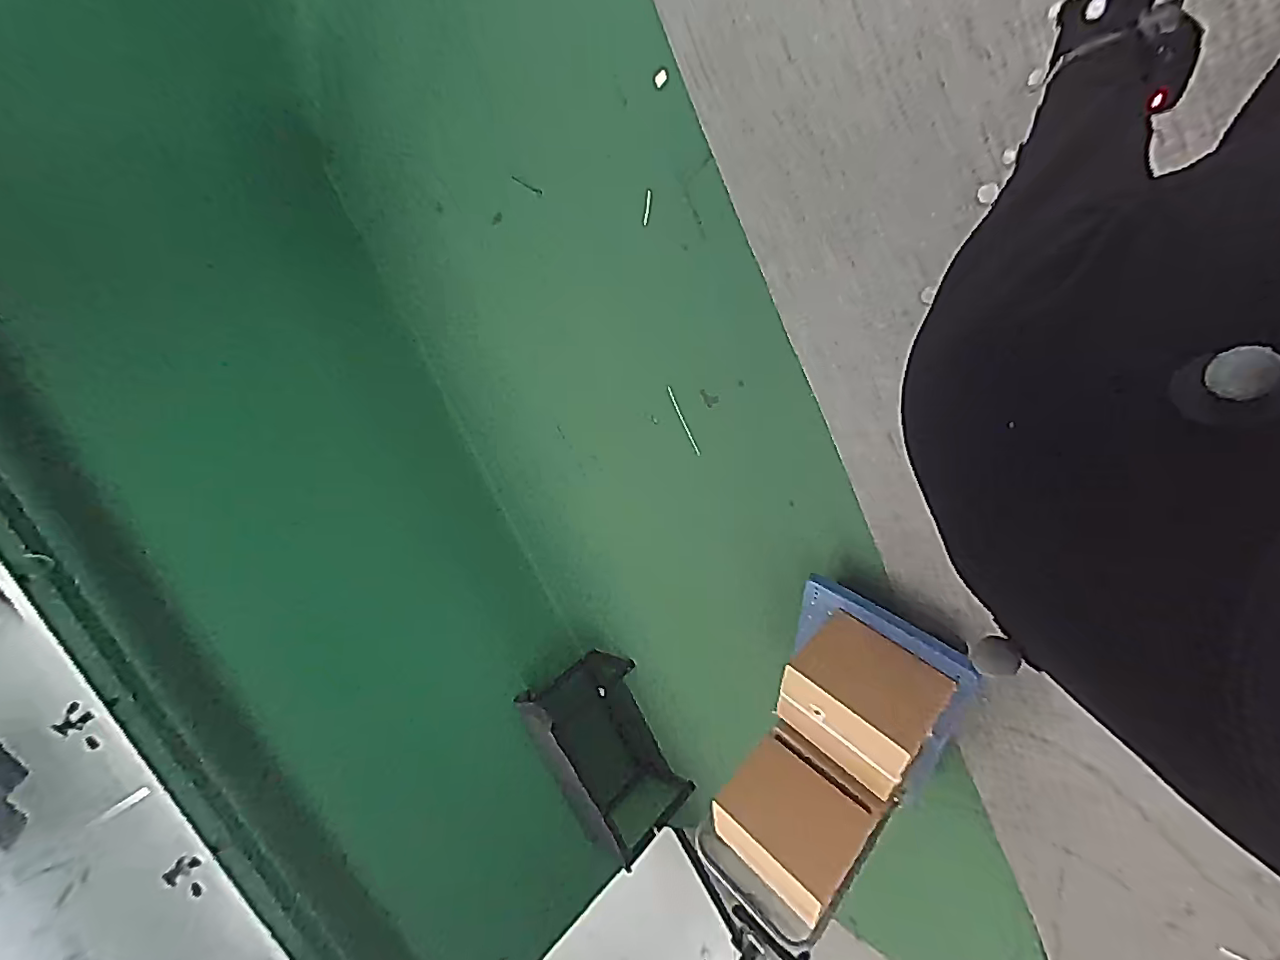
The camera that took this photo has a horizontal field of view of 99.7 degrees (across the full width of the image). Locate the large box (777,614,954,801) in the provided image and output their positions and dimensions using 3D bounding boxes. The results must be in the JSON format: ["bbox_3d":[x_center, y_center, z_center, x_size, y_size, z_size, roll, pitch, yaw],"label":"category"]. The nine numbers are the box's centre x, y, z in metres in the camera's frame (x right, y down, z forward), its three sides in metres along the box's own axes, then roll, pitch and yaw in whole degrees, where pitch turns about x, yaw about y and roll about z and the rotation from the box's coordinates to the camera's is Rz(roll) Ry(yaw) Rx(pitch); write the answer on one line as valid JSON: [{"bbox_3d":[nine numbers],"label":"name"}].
[{"bbox_3d":[0.712,0.718,1.749,0.408,0.320,0.320,32,141,35],"label":"large box"}]
